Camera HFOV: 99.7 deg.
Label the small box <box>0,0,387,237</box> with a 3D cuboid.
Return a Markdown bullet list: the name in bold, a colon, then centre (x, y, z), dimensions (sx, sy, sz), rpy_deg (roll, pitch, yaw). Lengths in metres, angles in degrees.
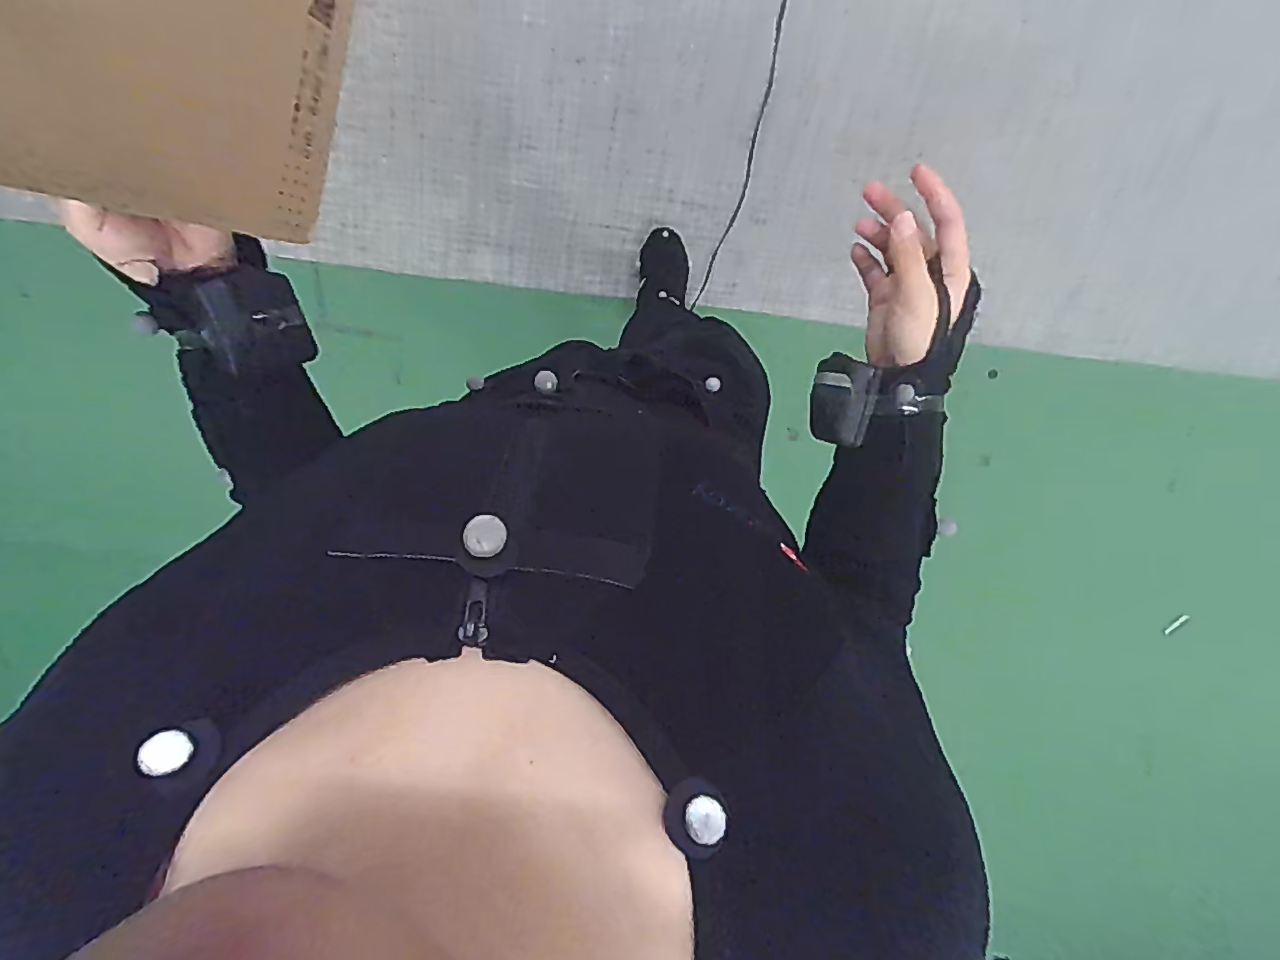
- **small box**: centre (-0.226, -0.205, 0.195), dimensions (0.179, 0.176, 0.168), rpy_deg (21, 109, 1)
